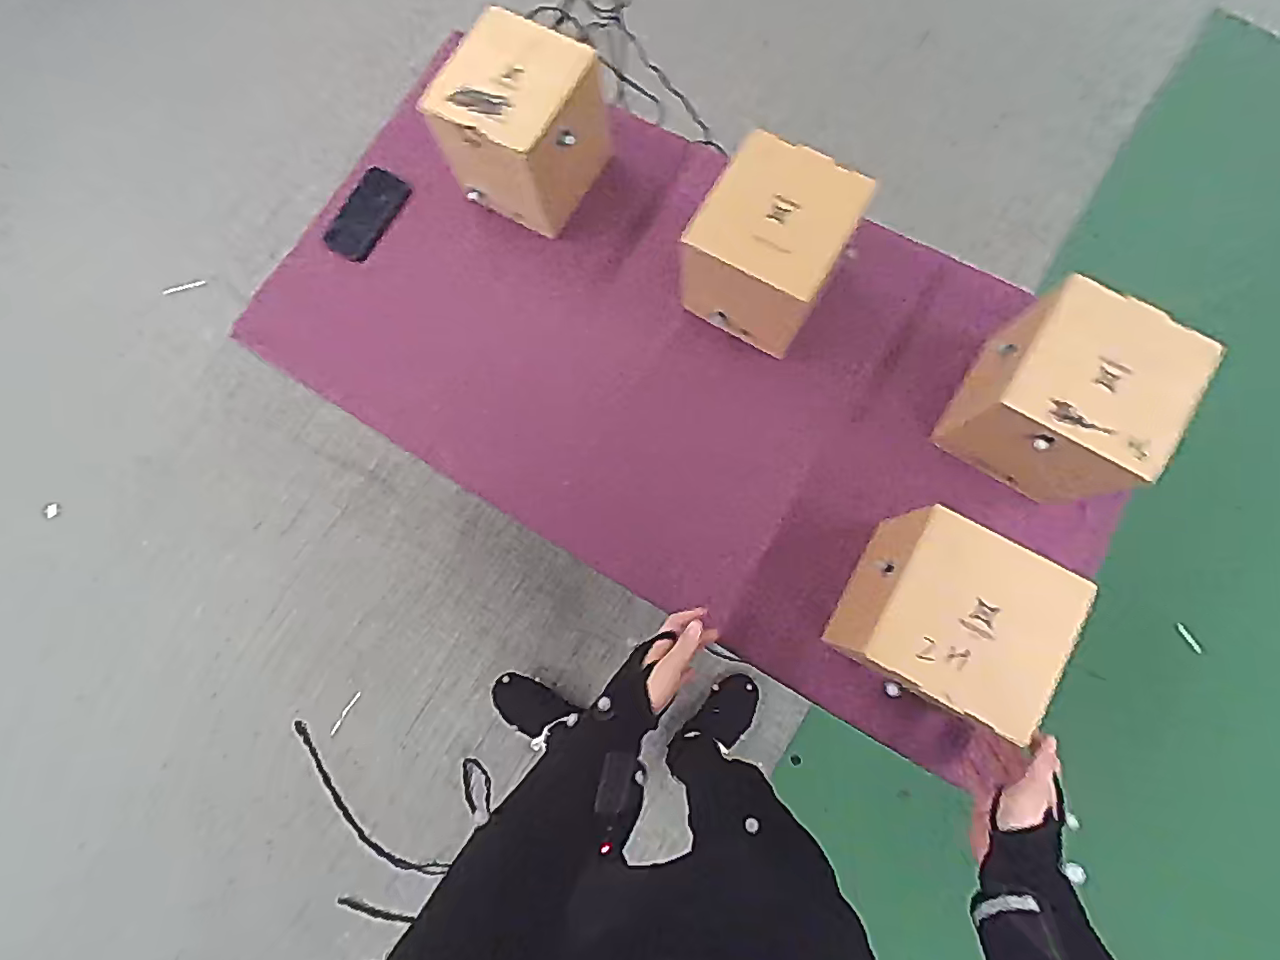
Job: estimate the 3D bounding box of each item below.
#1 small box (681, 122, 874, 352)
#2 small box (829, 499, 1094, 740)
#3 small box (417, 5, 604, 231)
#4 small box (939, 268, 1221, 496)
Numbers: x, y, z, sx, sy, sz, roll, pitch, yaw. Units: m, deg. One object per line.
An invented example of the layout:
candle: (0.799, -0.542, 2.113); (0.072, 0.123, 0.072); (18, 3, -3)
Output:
small box: (0.164, -0.302, 0.702); (0.168, 0.176, 0.179); (31, 84, 10)
small box: (0.334, 0.145, 0.603); (0.168, 0.176, 0.179); (29, 83, 10)
small box: (-0.165, -0.493, 0.759); (0.168, 0.176, 0.179); (30, 83, 9)
small box: (0.494, -0.103, 0.639); (0.168, 0.176, 0.179); (32, 83, 10)
